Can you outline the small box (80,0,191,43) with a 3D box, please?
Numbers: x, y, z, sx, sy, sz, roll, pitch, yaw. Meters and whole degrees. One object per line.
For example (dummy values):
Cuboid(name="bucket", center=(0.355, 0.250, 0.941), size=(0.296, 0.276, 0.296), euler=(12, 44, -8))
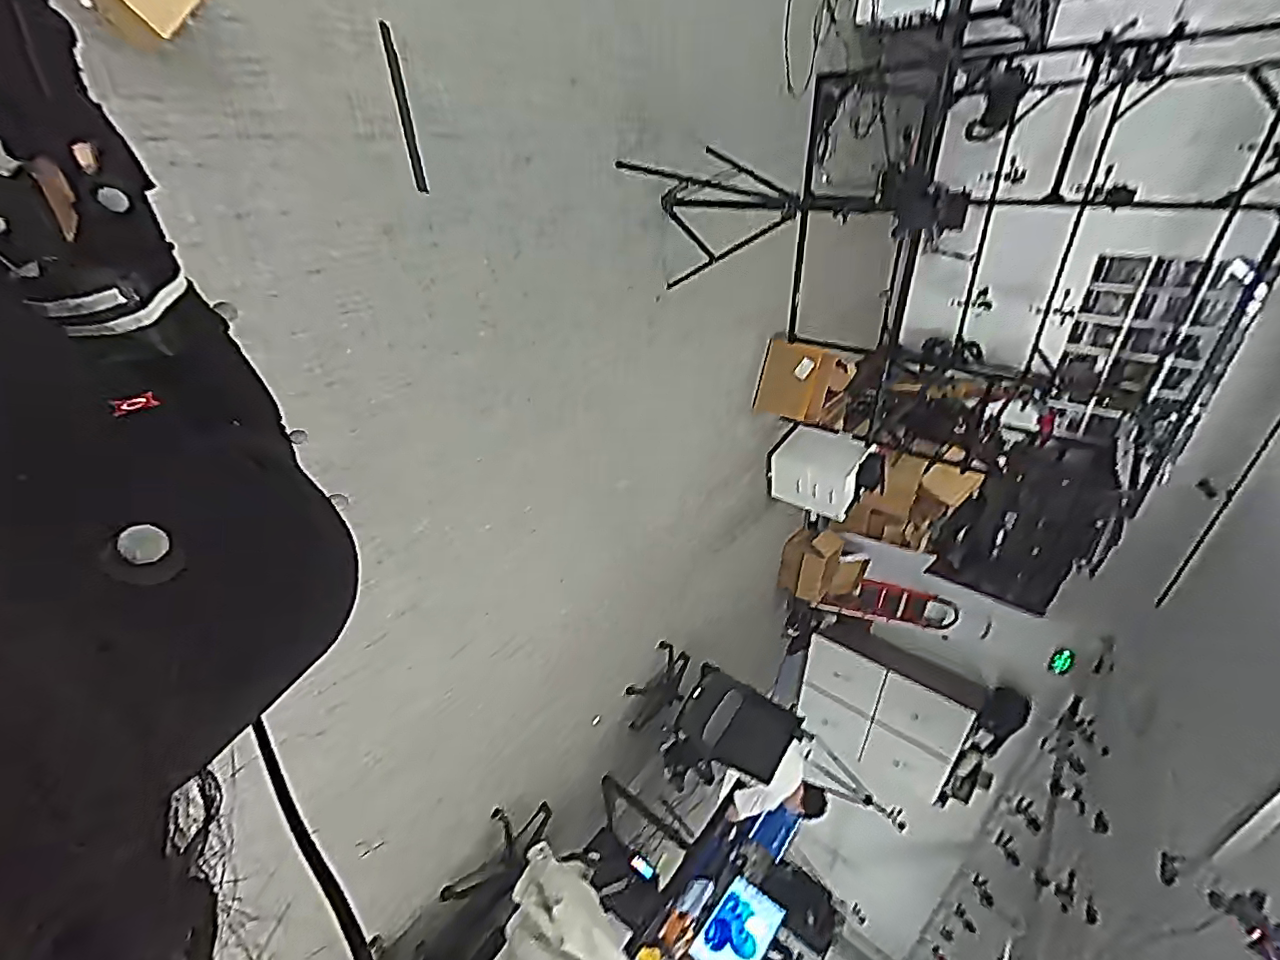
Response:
Cuboid(name="small box", center=(-0.877, -0.889, 0.914), size=(0.179, 0.176, 0.168), euler=(-60, 146, -10))
